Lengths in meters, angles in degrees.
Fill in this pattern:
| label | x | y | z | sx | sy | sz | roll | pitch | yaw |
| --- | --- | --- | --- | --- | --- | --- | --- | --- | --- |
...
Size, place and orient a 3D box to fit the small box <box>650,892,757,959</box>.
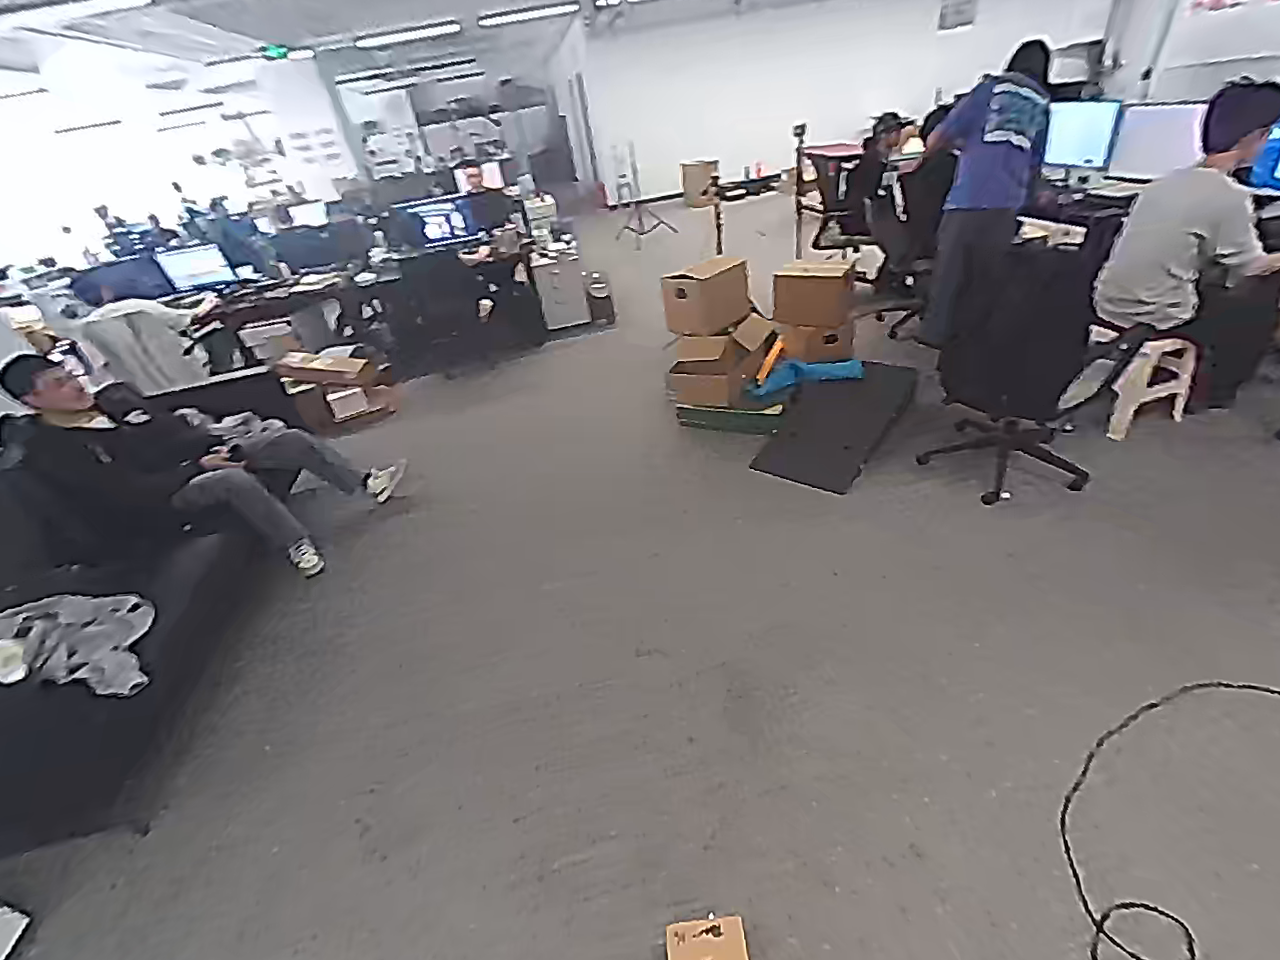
| label | x | y | z | sx | sy | sz | roll | pitch | yaw |
| --- | --- | --- | --- | --- | --- | --- | --- | --- | --- |
| small box | 0.149 | 1.043 | 1.147 | 0.179 | 0.176 | 0.168 | -28 | 36 | -21 |
